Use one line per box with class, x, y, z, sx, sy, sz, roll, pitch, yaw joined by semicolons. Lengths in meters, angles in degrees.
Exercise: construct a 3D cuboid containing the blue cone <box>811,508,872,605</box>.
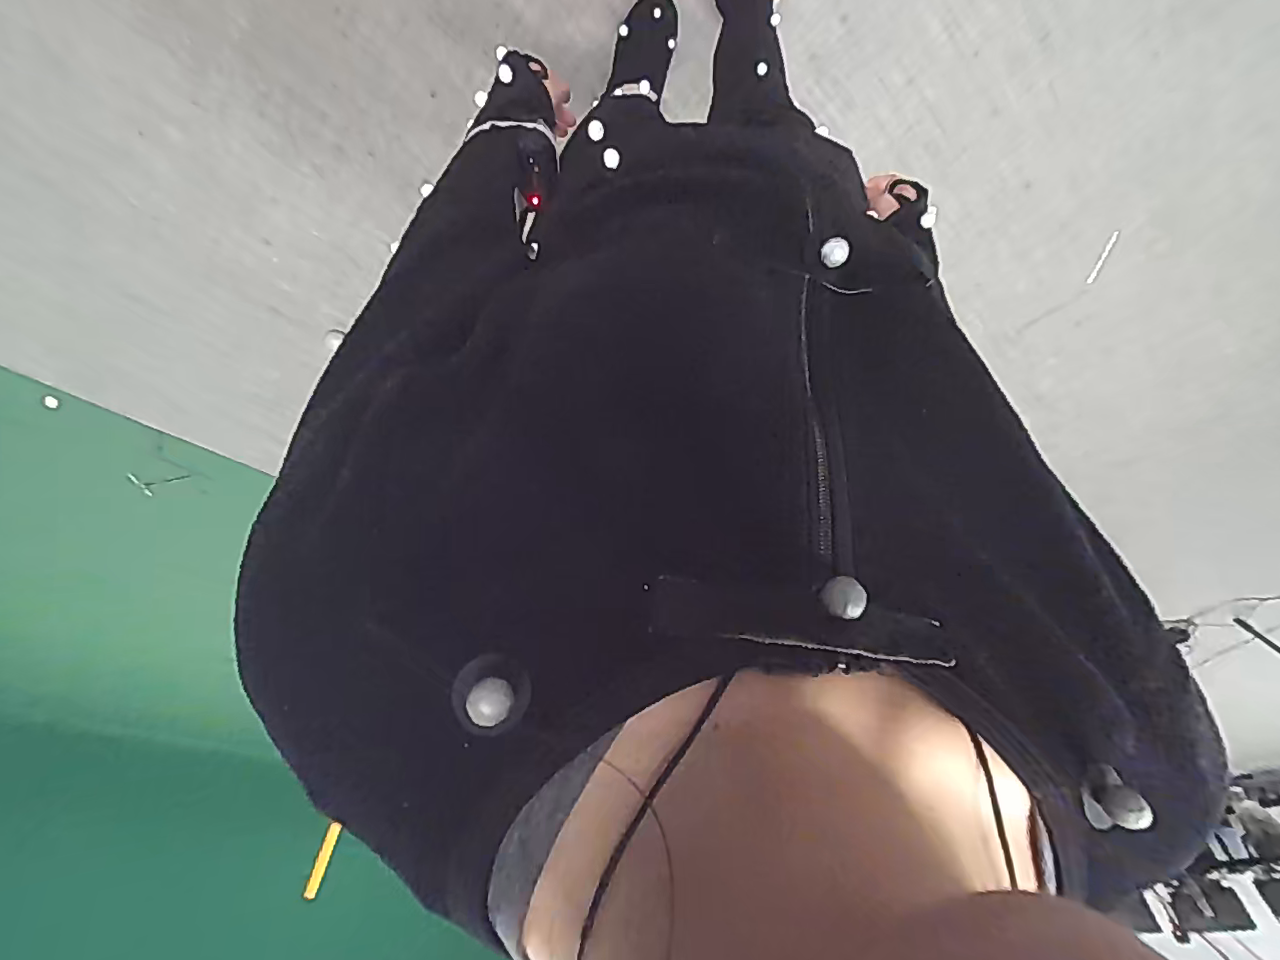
blue cone;0.798;0.296;2.051;0.193;0.380;0.192;-5;136;1
